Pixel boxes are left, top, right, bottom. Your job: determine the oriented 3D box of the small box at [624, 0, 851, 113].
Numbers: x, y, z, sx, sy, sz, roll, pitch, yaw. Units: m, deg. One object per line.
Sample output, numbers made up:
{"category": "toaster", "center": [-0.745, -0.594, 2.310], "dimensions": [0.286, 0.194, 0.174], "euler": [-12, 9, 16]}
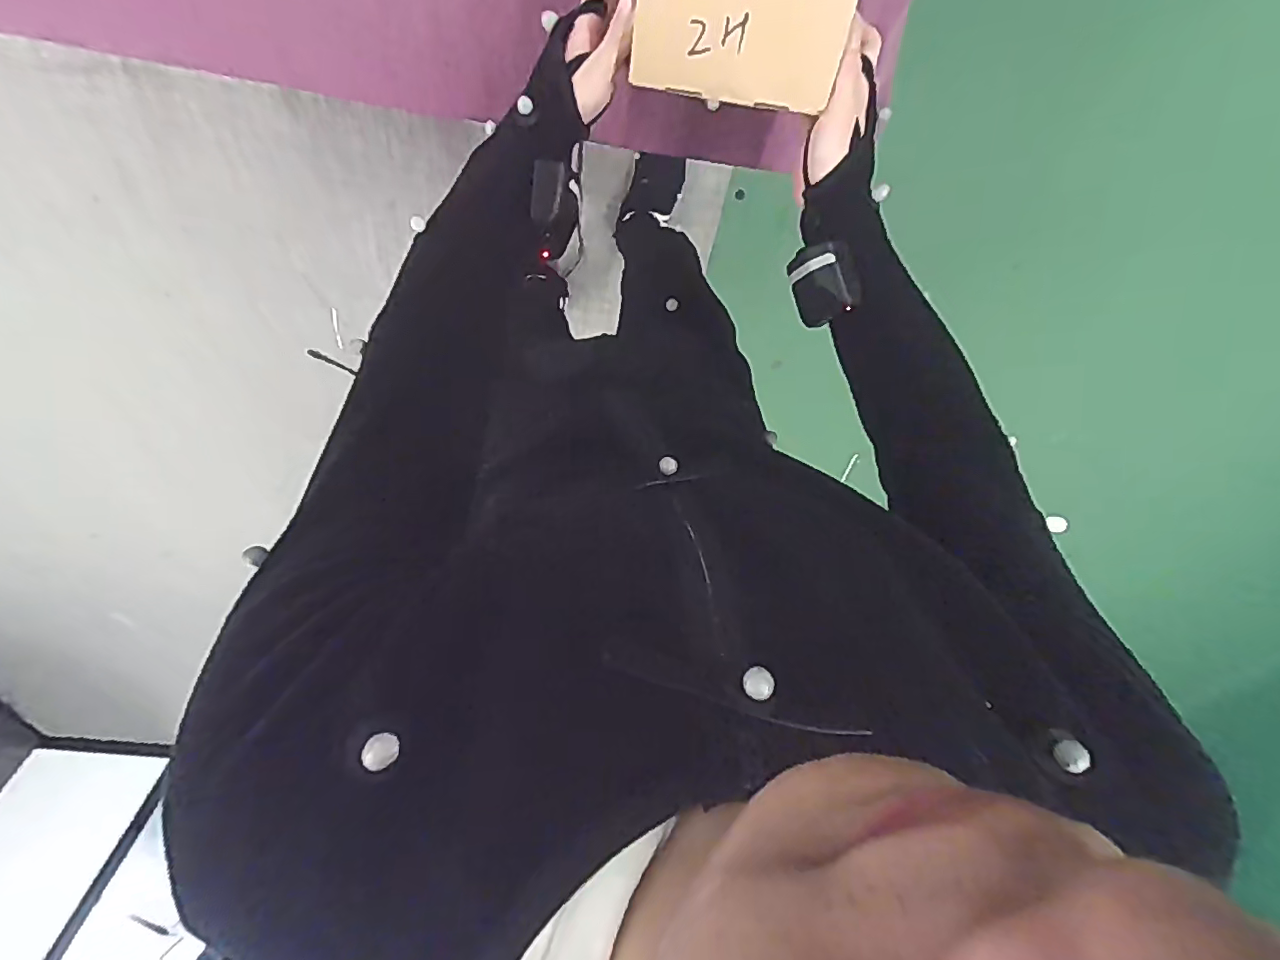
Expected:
{"category": "small box", "center": [0.081, -0.429, 0.446], "dimensions": [0.168, 0.176, 0.179], "euler": [7, 131, -3]}
